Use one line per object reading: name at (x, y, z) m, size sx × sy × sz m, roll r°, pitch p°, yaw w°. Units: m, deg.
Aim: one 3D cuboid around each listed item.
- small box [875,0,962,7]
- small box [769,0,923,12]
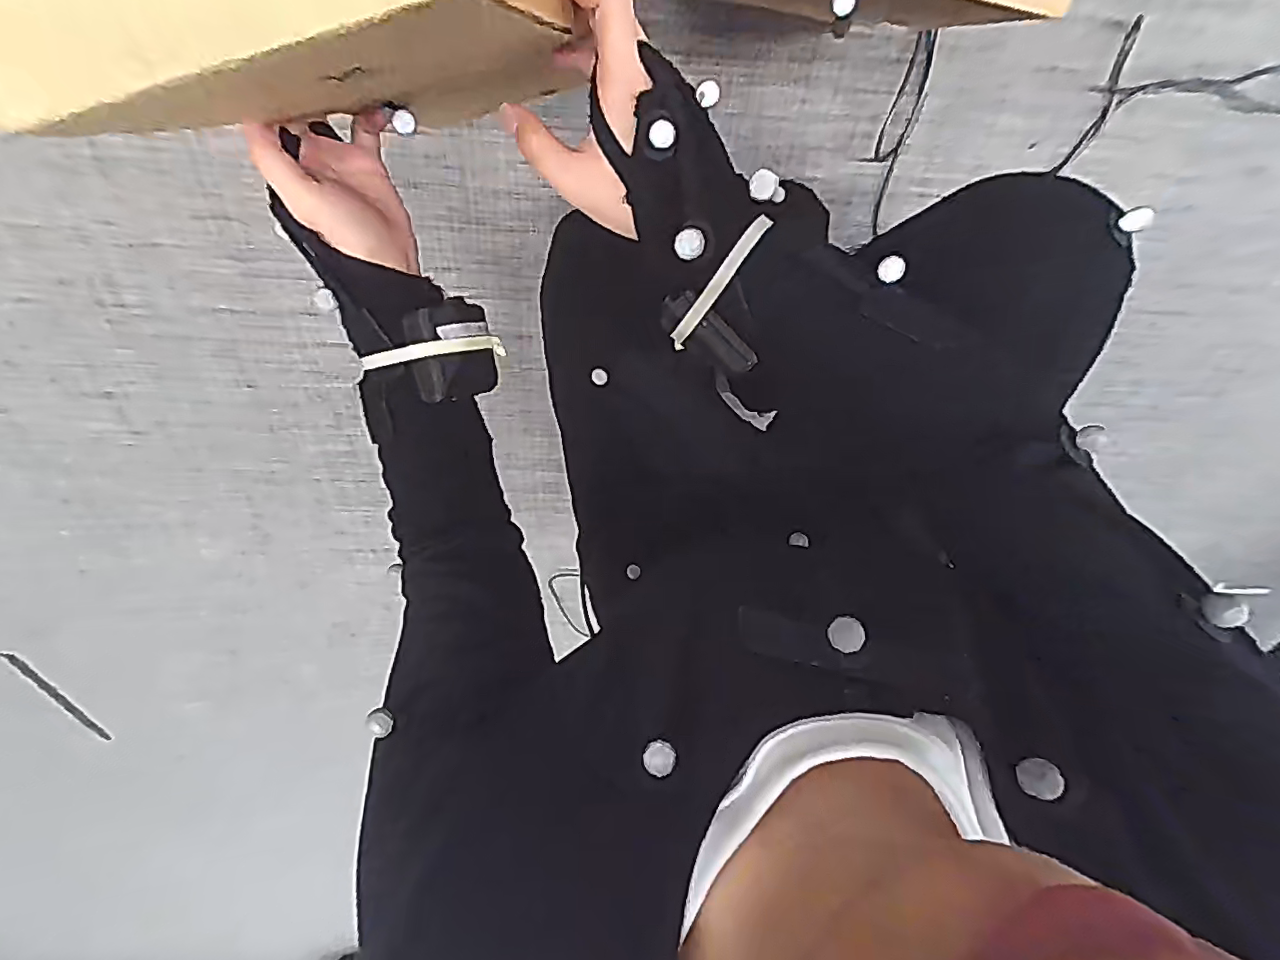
small box at (0.140, -0.357, 0.265) m, size 0.179 × 0.176 × 0.168 m, roll 6°, pitch 128°, yaw -8°
small box at (0.134, -0.462, 0.391) m, size 0.179 × 0.176 × 0.168 m, roll 6°, pitch 128°, yaw -7°
